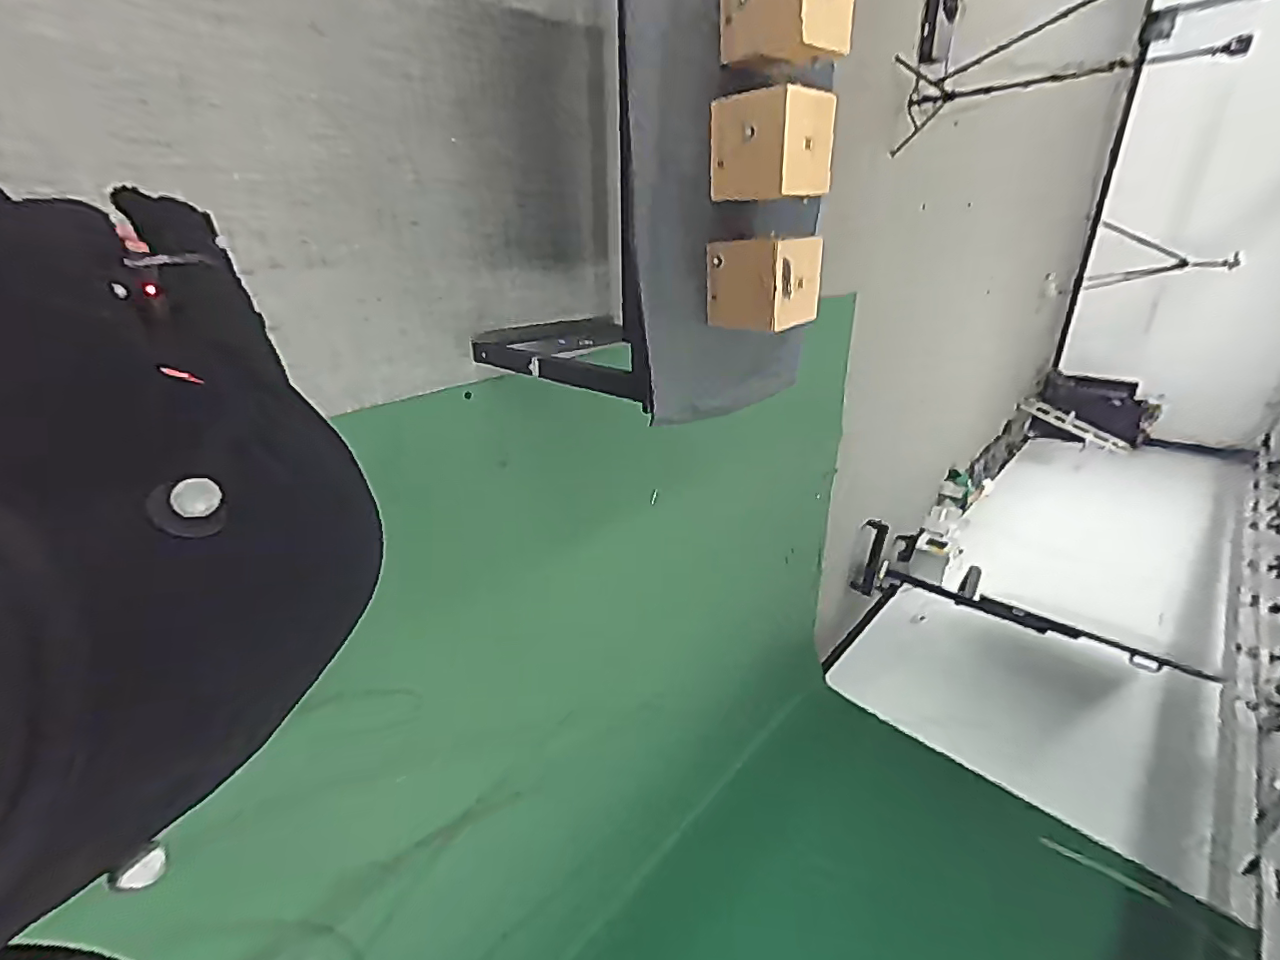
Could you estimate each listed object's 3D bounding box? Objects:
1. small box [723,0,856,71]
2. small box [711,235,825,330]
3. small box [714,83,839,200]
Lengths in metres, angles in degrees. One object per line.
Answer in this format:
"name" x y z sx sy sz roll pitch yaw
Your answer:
"small box" 0.266 -0.843 0.952 0.179 0.176 0.168 -27 125 -38
"small box" 0.263 -0.416 1.132 0.179 0.176 0.168 -27 125 -39
"small box" 0.255 -0.634 1.034 0.179 0.176 0.168 -27 124 -39
